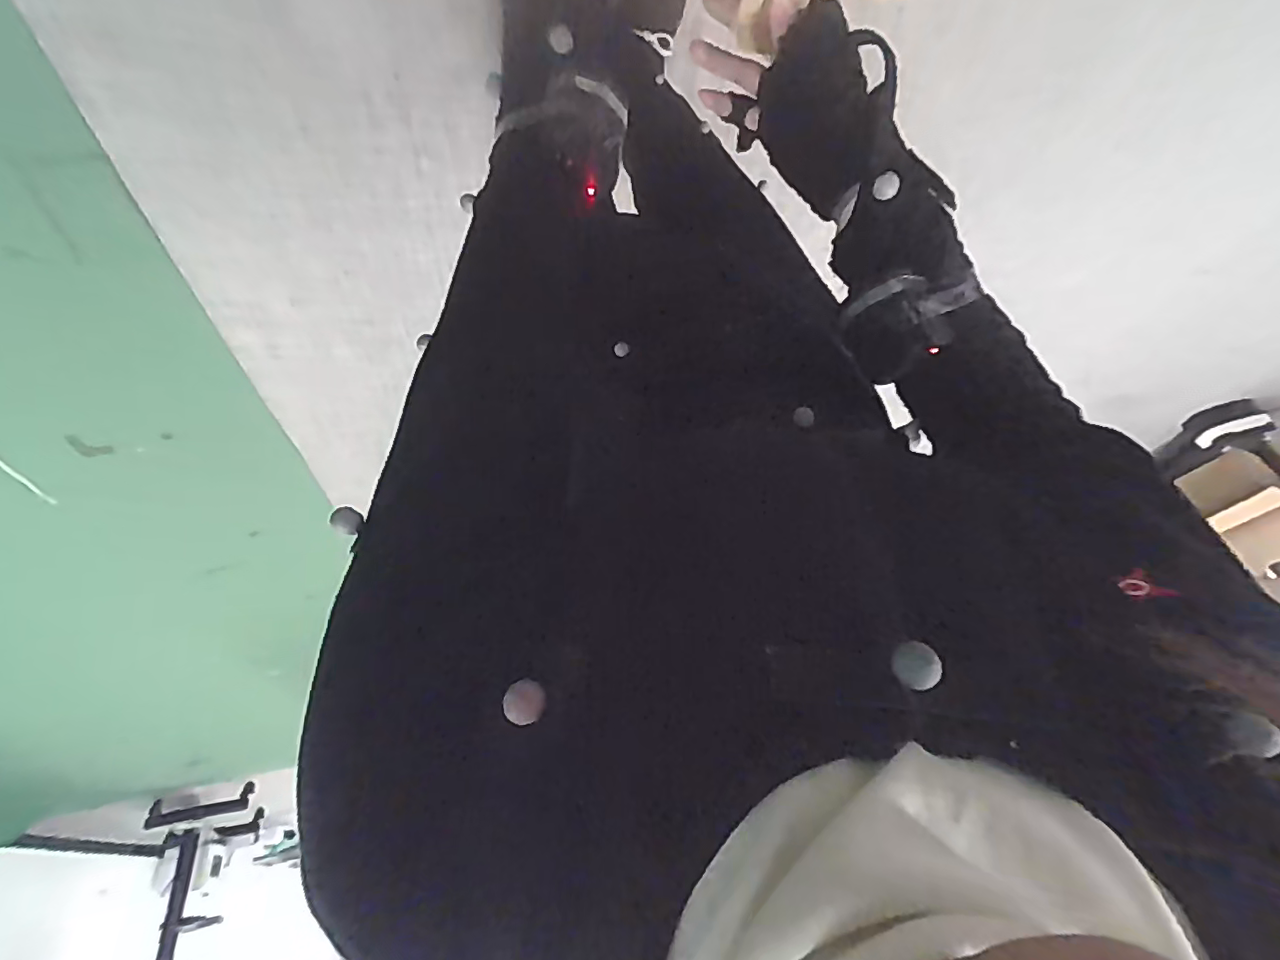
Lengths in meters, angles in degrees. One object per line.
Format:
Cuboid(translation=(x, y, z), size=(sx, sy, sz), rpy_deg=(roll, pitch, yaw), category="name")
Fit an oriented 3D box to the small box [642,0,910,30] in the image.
Cuboid(translation=(0.078, -0.388, 0.291), size=(0.168, 0.176, 0.179), rpy_deg=(-7, 149, -11), category="small box")
